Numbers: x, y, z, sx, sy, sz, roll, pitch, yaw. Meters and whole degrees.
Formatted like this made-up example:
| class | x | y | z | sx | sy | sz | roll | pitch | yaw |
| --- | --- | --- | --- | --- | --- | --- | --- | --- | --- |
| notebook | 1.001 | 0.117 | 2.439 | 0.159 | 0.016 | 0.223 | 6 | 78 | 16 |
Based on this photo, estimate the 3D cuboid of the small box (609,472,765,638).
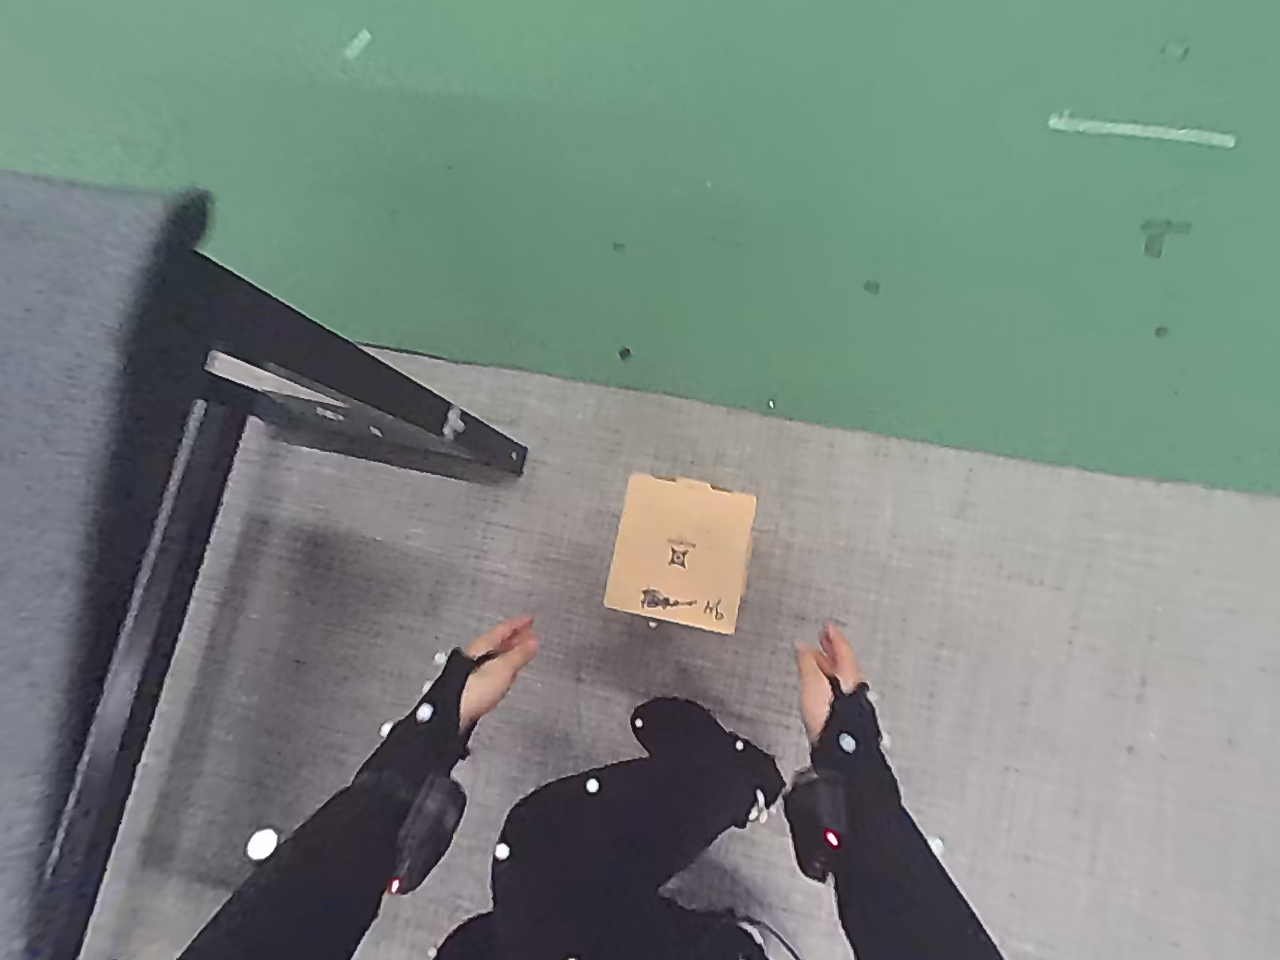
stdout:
| class | x | y | z | sx | sy | sz | roll | pitch | yaw |
| --- | --- | --- | --- | --- | --- | --- | --- | --- | --- |
| small box | 0.065 | 0.102 | 0.750 | 0.168 | 0.176 | 0.179 | 12 | 83 | 7 |
